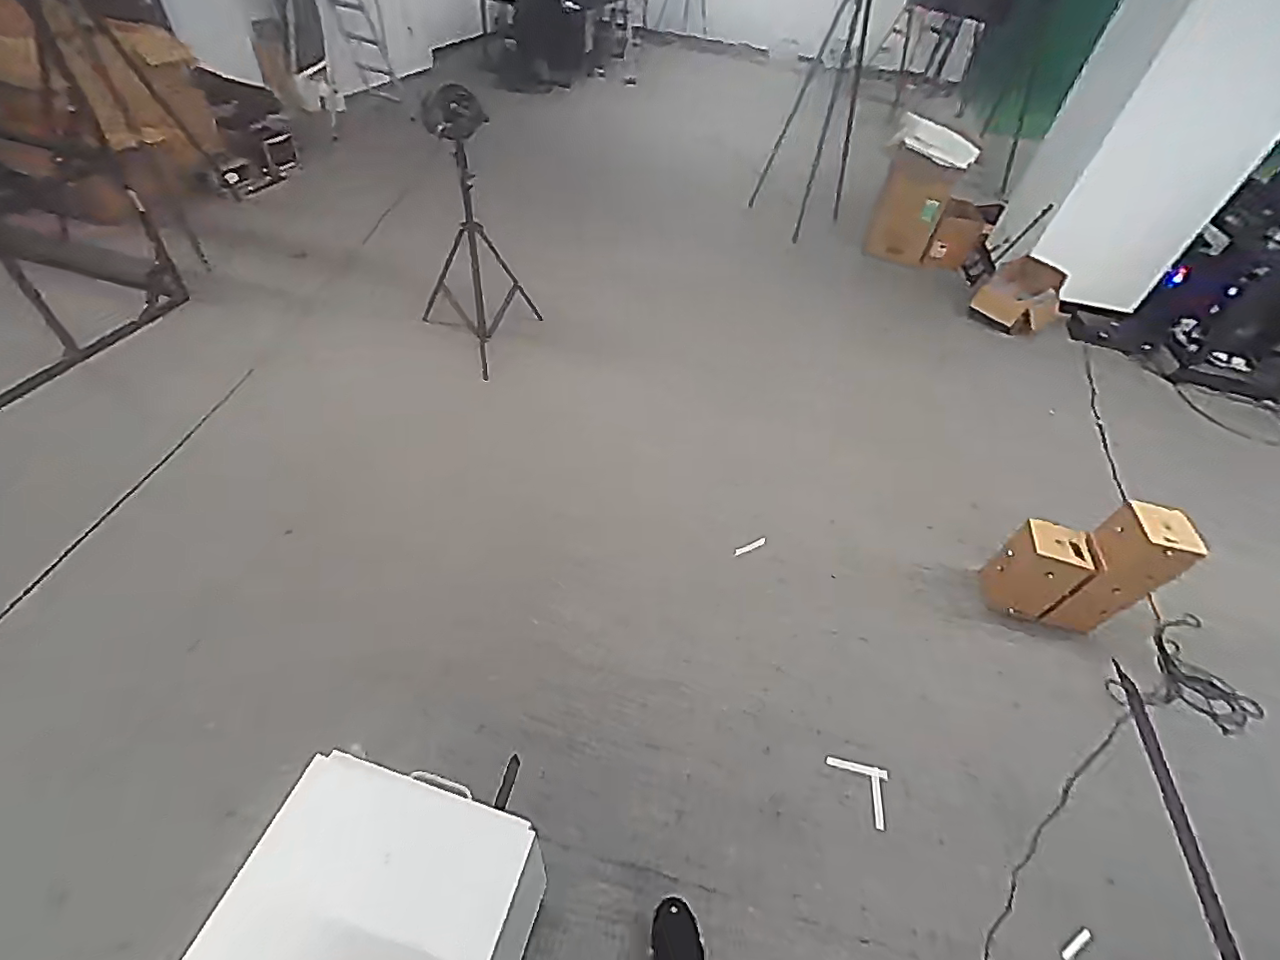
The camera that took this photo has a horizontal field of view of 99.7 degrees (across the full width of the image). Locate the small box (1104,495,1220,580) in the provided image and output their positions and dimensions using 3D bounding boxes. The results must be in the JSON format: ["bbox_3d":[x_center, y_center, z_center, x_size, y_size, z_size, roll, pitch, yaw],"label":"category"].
[{"bbox_3d":[1.597,0.179,1.672,0.168,0.176,0.179,13,46,6],"label":"small box"}]

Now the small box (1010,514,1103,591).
[{"bbox_3d":[1.385,0.247,1.810,0.179,0.176,0.168,16,47,11],"label":"small box"}]
